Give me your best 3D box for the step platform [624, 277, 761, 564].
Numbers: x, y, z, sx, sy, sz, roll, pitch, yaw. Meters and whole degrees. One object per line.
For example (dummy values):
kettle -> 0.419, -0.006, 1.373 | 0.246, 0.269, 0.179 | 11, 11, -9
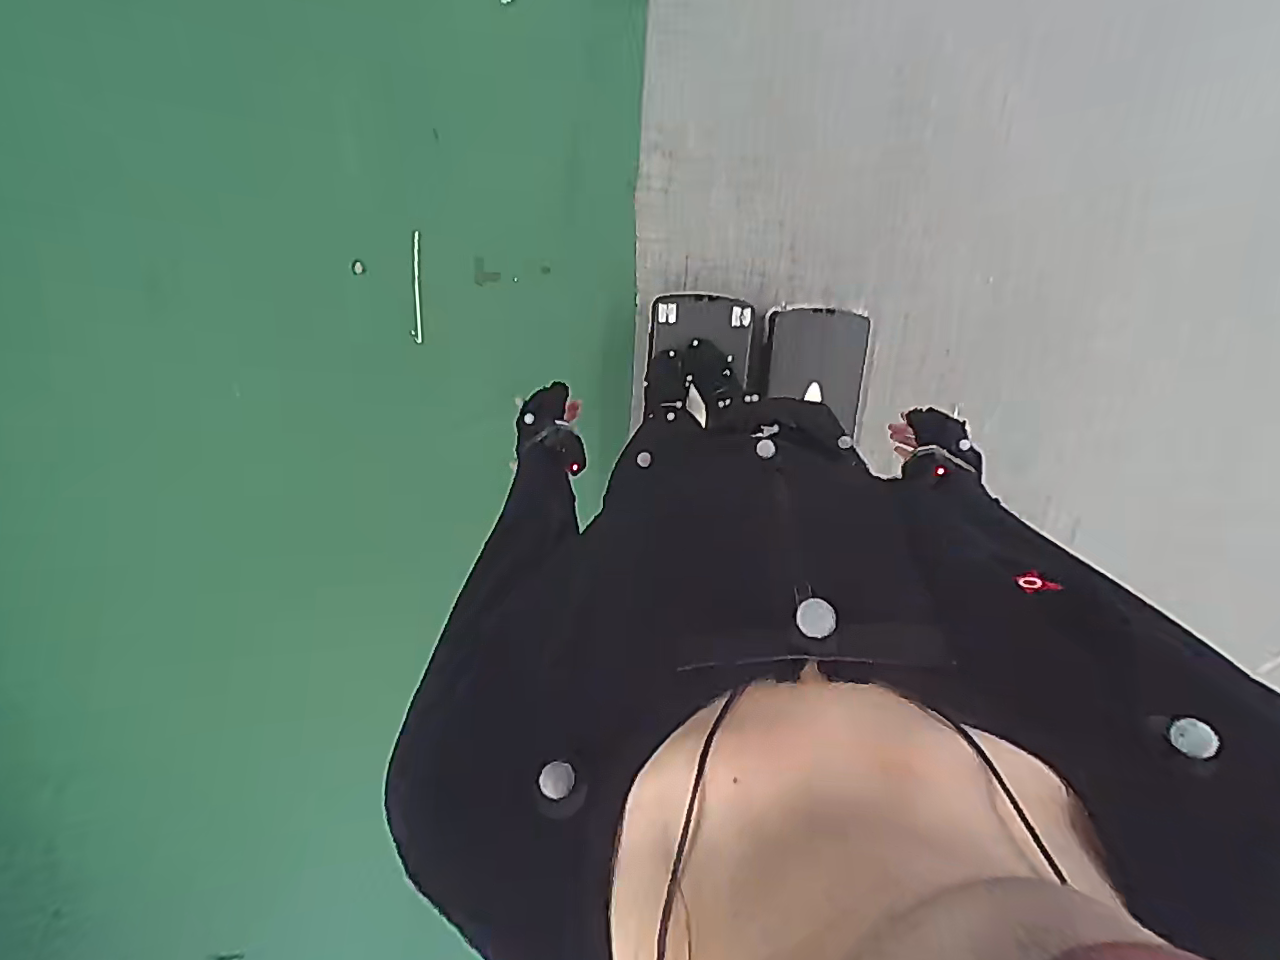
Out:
step platform -> 0.118, -0.141, 1.365 | 0.286, 0.204, 0.684 | 3, 106, 1
